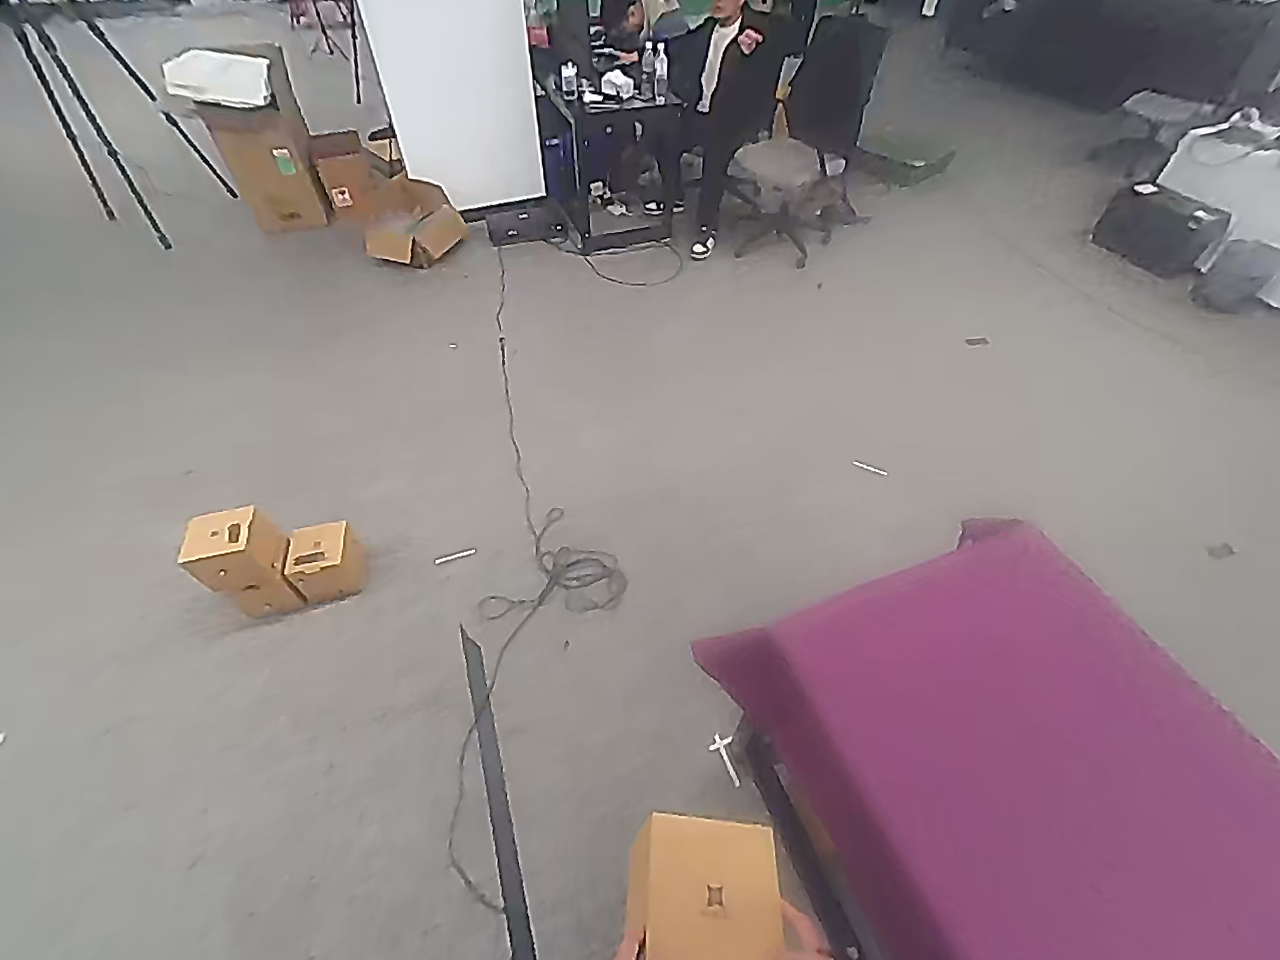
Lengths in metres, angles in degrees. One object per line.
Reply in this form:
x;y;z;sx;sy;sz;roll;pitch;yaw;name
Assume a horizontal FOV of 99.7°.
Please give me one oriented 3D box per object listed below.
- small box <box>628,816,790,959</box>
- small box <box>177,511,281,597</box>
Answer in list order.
0.079;0.565;0.696;0.168;0.176;0.179;9;42;-4;small box
-1.200;0.220;1.596;0.179;0.176;0.168;-13;50;-9;small box
